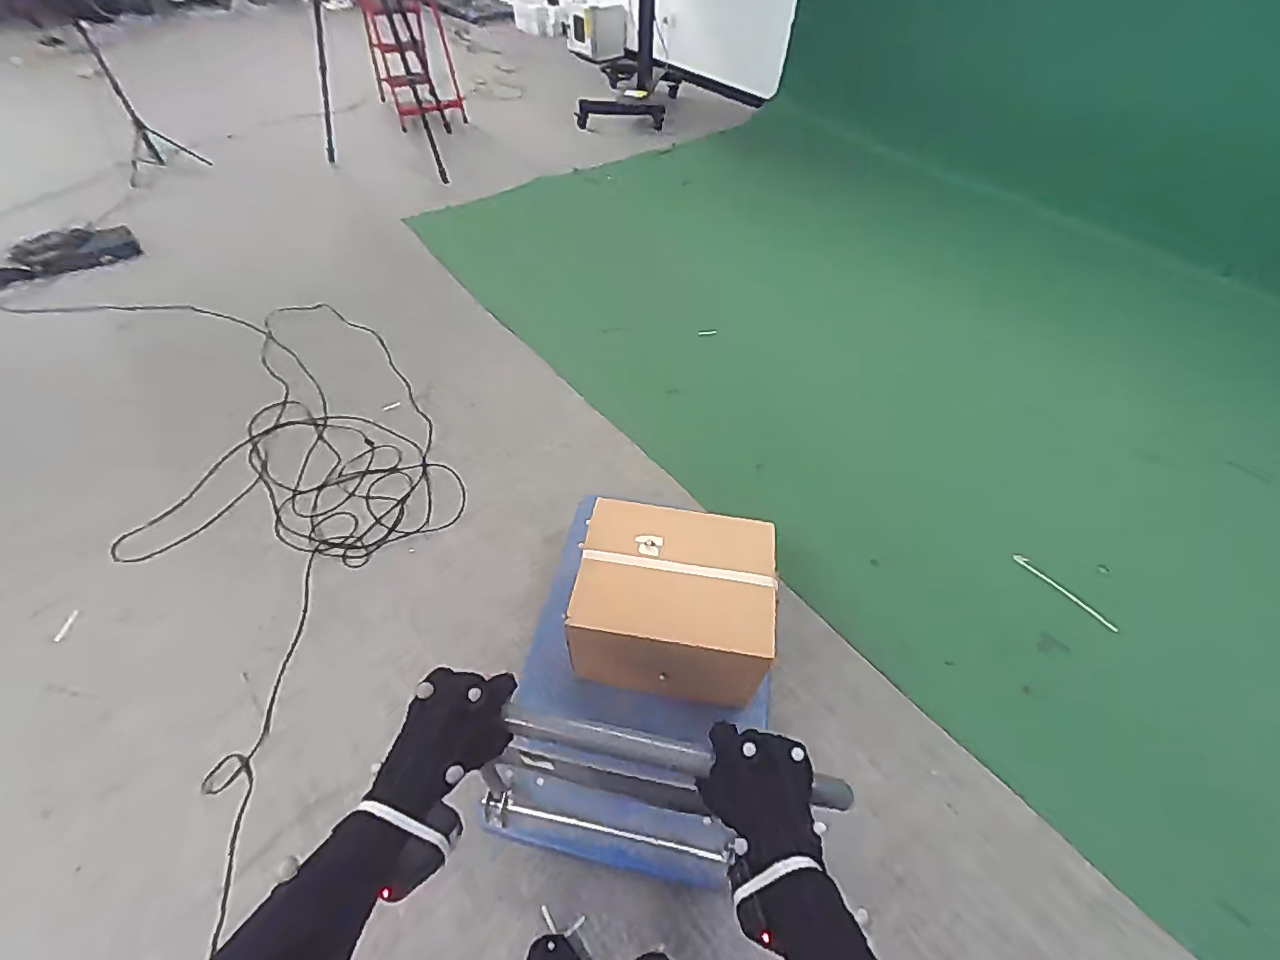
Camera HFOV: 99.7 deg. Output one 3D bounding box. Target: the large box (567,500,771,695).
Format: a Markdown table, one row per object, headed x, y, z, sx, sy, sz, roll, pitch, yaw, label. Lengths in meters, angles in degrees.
| x | y | z | sx | sy | sz | roll | pitch | yaw | label |
| --- | --- | --- | --- | --- | --- | --- | --- | --- | --- |
| 0.073 | 0.277 | 1.250 | 0.408 | 0.320 | 0.320 | 7 | 51 | 4 | large box |
